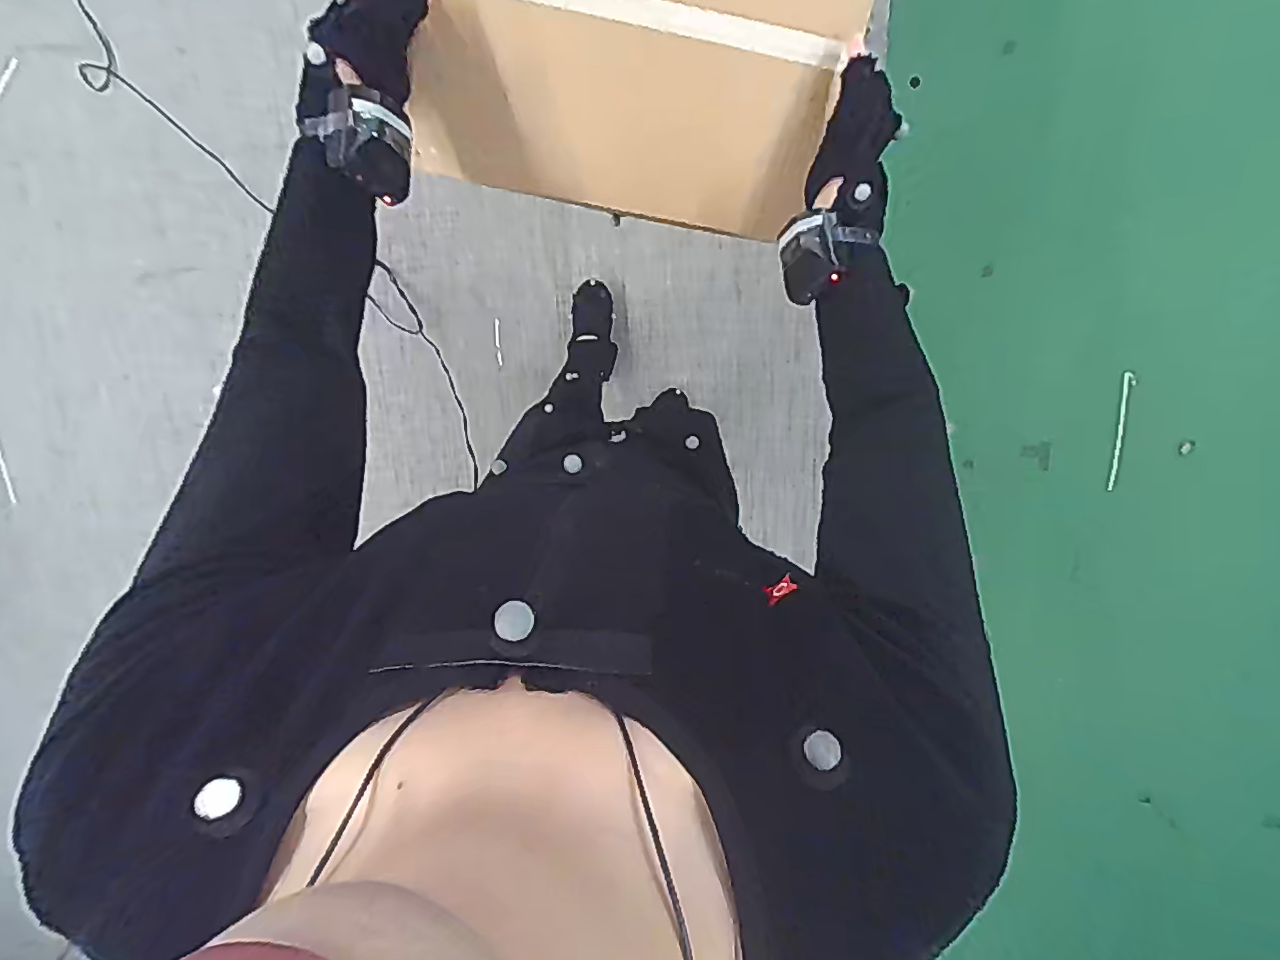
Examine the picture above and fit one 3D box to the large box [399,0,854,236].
[{"bbox_3d":[-0.011,-0.480,0.614,0.408,0.320,0.320,9,115,-4],"label":"large box"}]
